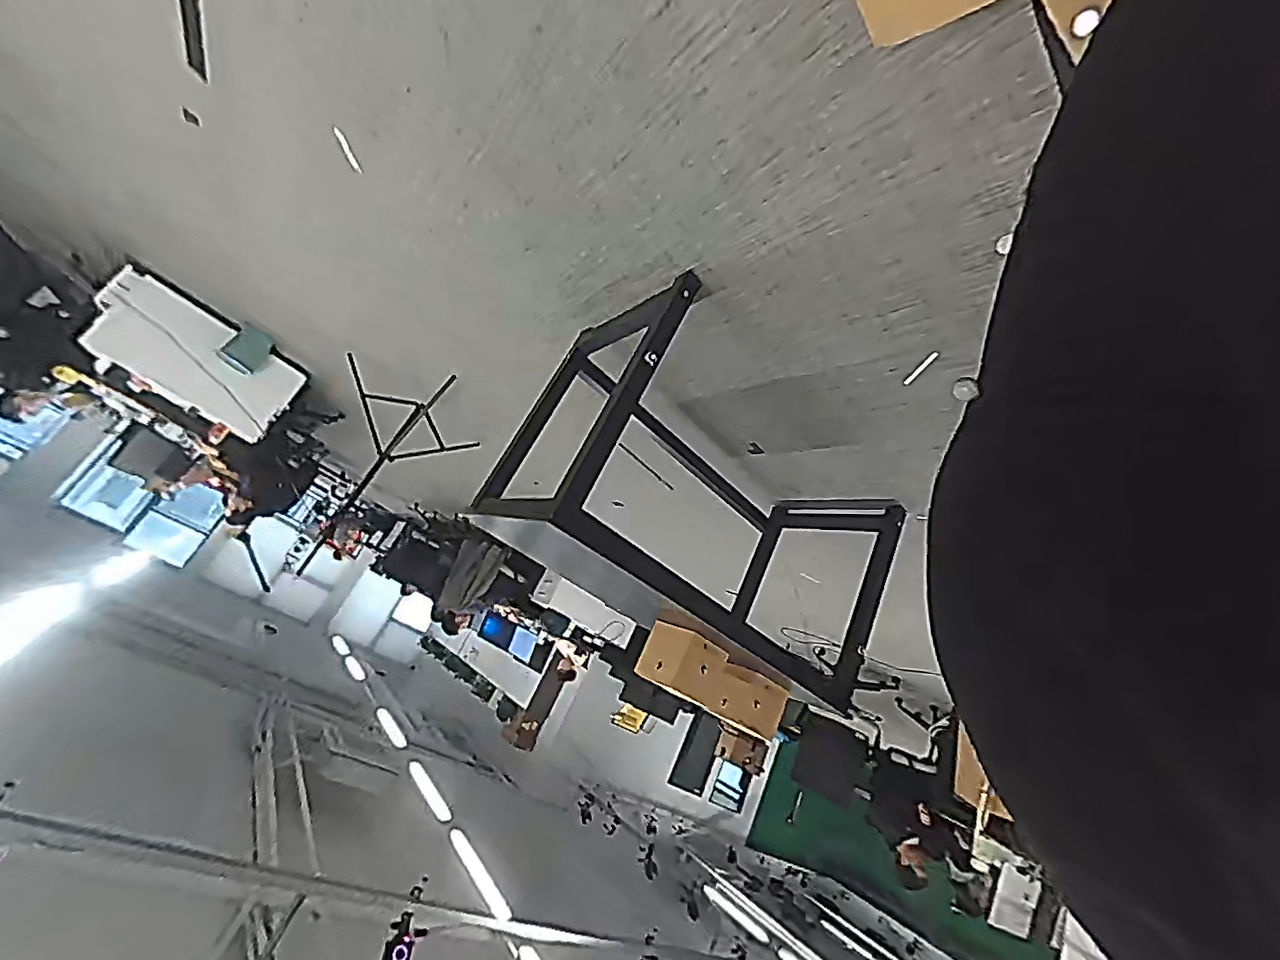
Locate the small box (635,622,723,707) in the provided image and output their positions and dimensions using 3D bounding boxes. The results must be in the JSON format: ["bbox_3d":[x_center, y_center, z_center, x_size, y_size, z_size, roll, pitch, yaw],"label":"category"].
[{"bbox_3d":[0.123,0.534,1.583,0.168,0.176,0.179,39,157,-29],"label":"small box"}]

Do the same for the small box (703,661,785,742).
[{"bbox_3d":[0.339,0.700,1.727,0.168,0.176,0.179,37,159,-23],"label":"small box"}]
